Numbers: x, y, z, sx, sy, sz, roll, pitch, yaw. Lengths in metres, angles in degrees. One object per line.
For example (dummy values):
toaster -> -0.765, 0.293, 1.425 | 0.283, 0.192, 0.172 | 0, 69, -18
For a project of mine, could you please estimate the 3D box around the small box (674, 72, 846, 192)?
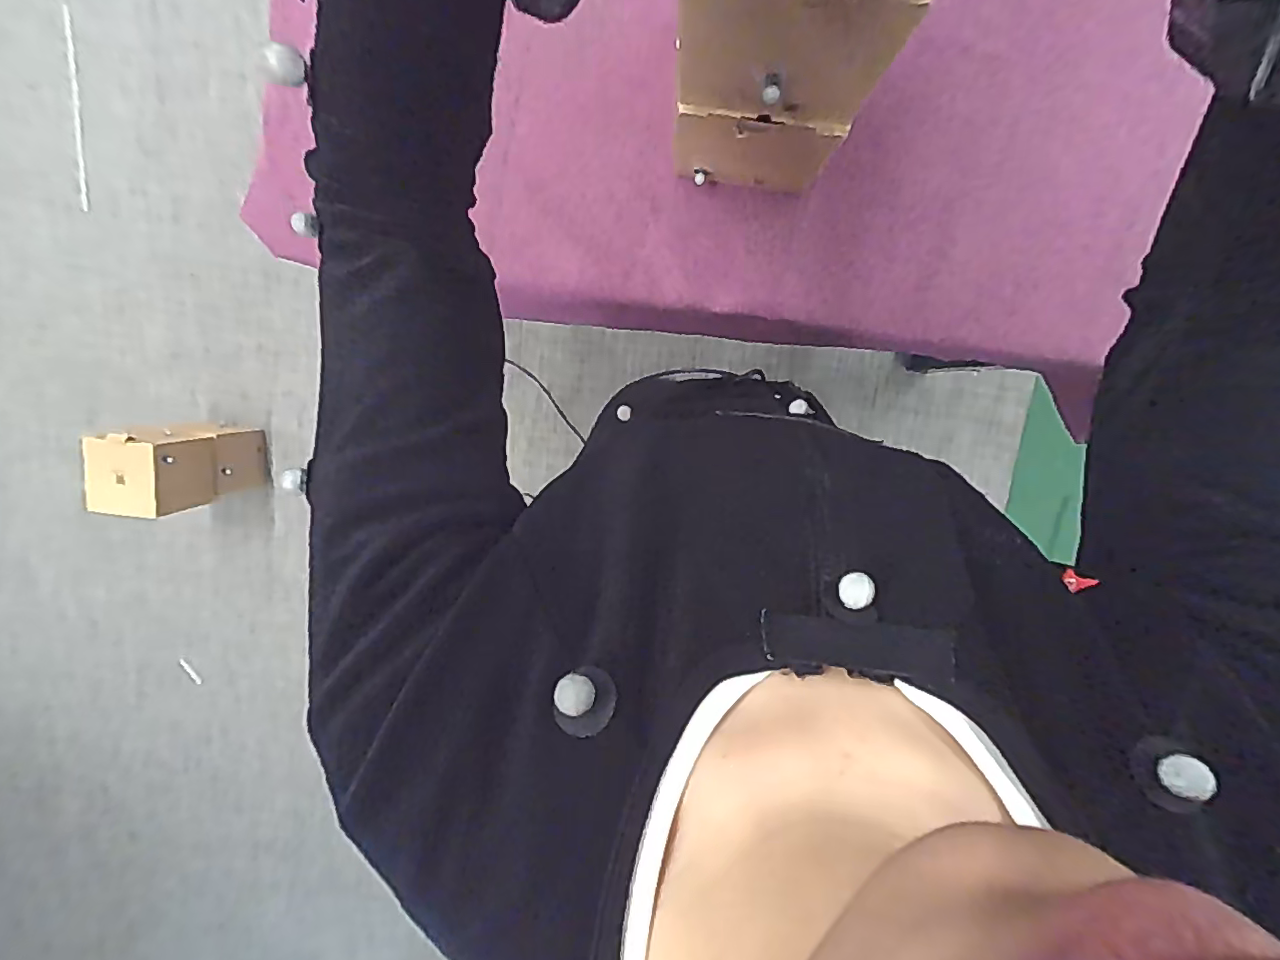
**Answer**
small box -> 0.133, -0.436, 0.581 | 0.168, 0.176, 0.179 | 9, 99, 2

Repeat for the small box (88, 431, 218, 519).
small box -> -1.155, -0.017, 1.296 | 0.168, 0.176, 0.179 | 6, 99, 2

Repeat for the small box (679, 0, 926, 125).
small box -> 0.123, -0.417, 0.418 | 0.168, 0.176, 0.179 | 9, 100, 2

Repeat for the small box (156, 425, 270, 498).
small box -> -1.142, -0.055, 1.455 | 0.179, 0.176, 0.168 | 6, 100, 3
